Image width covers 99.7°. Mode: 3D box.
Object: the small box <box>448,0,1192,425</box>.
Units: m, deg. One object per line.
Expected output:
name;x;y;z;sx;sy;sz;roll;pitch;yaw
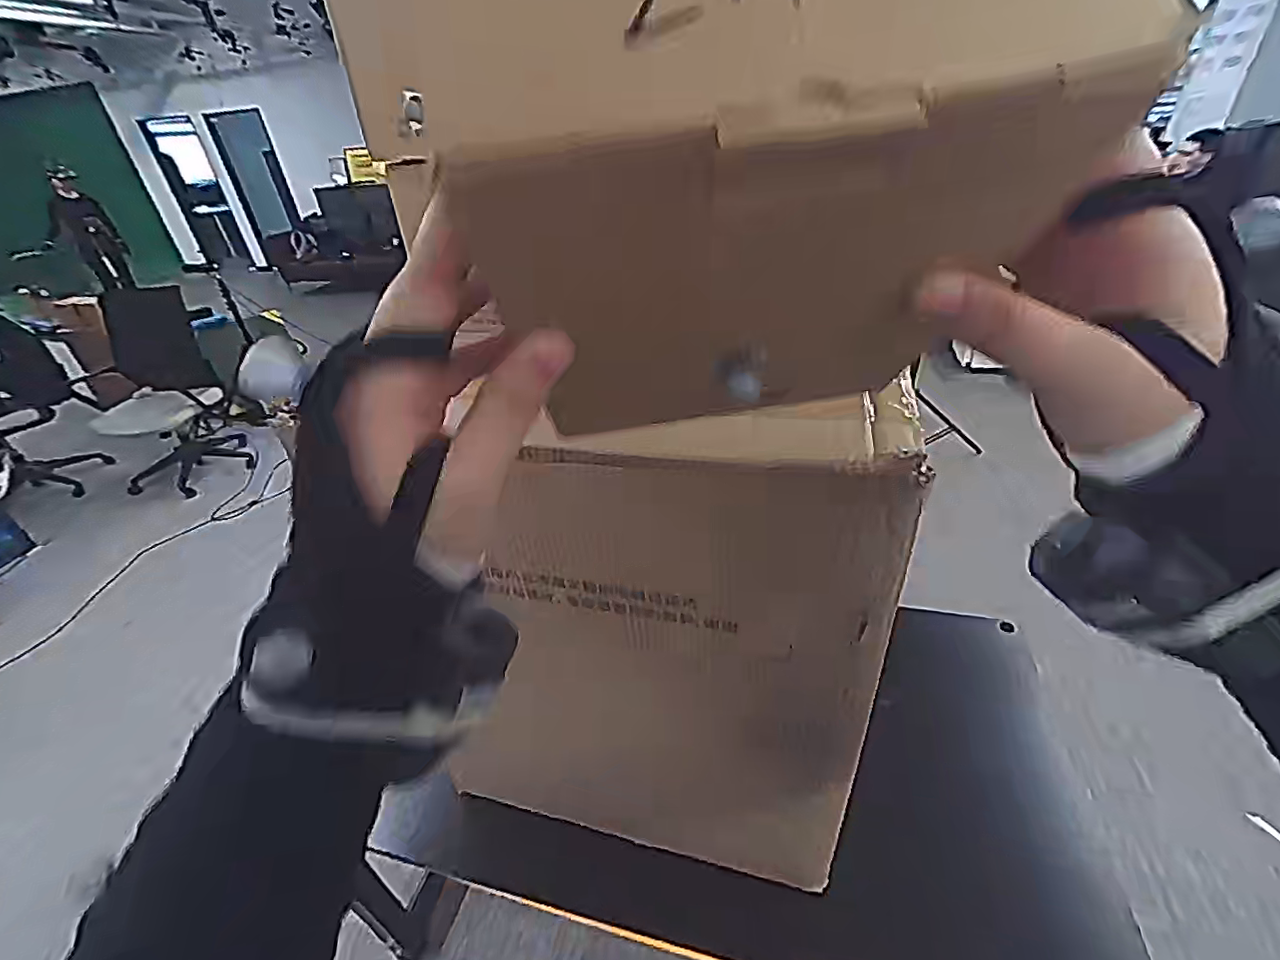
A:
small box;0.033;-0.142;0.219;0.168;0.176;0.179;-8;73;0

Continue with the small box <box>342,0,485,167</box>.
small box;-0.149;-0.396;0.507;0.168;0.176;0.179;6;35;17

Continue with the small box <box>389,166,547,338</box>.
small box;-0.137;-0.268;0.610;0.168;0.176;0.179;6;35;15
